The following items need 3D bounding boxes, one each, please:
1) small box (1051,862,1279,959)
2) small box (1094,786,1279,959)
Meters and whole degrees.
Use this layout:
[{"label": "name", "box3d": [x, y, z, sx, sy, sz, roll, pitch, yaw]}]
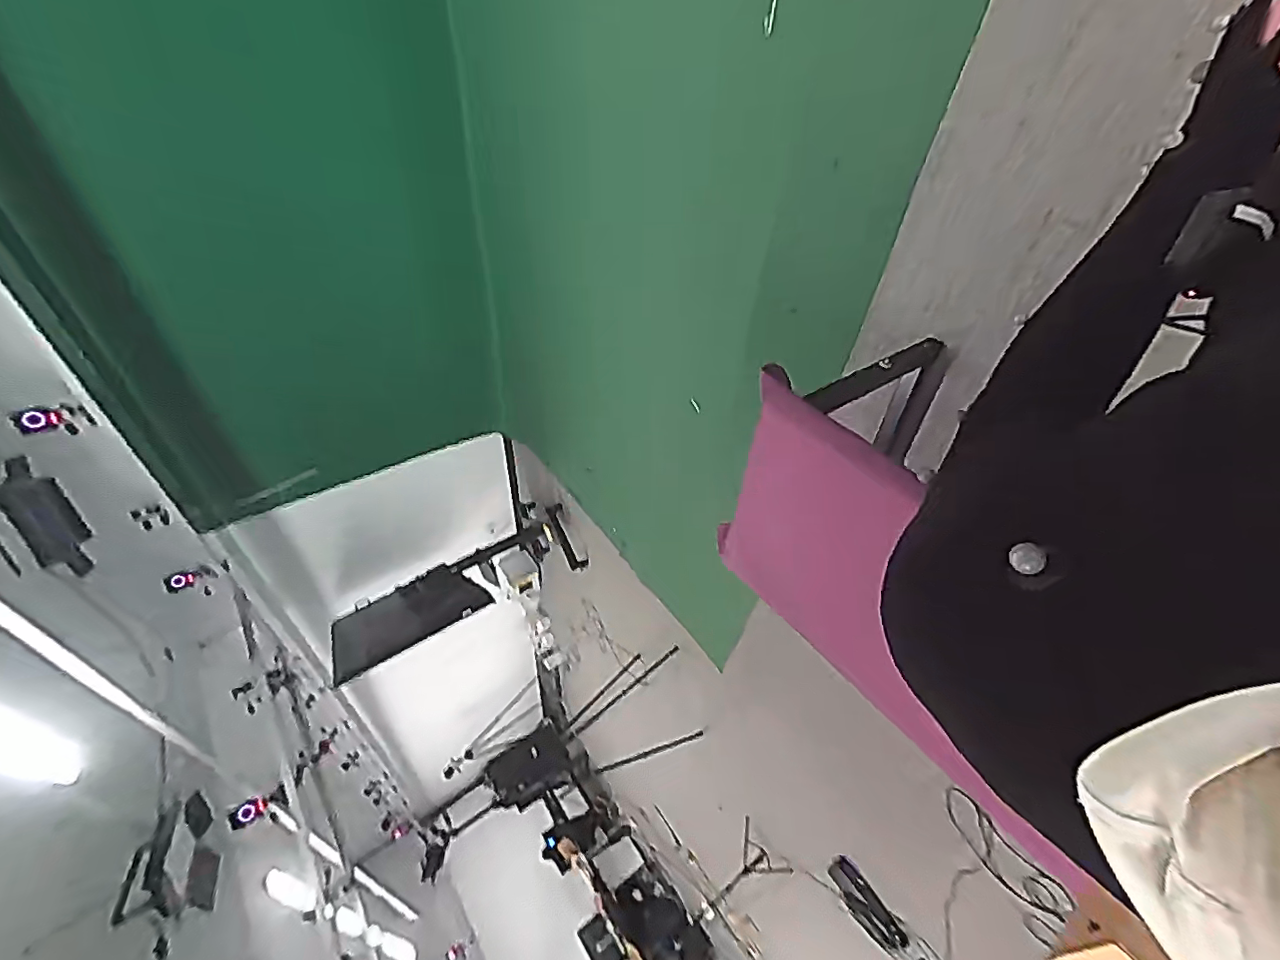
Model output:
[{"label": "small box", "box3d": [0.714, 0.664, 0.730, 0.168, 0.176, 0.179, 44, 146, 36]}, {"label": "small box", "box3d": [0.848, 0.604, 0.806, 0.168, 0.176, 0.179, 43, 145, 35]}]
